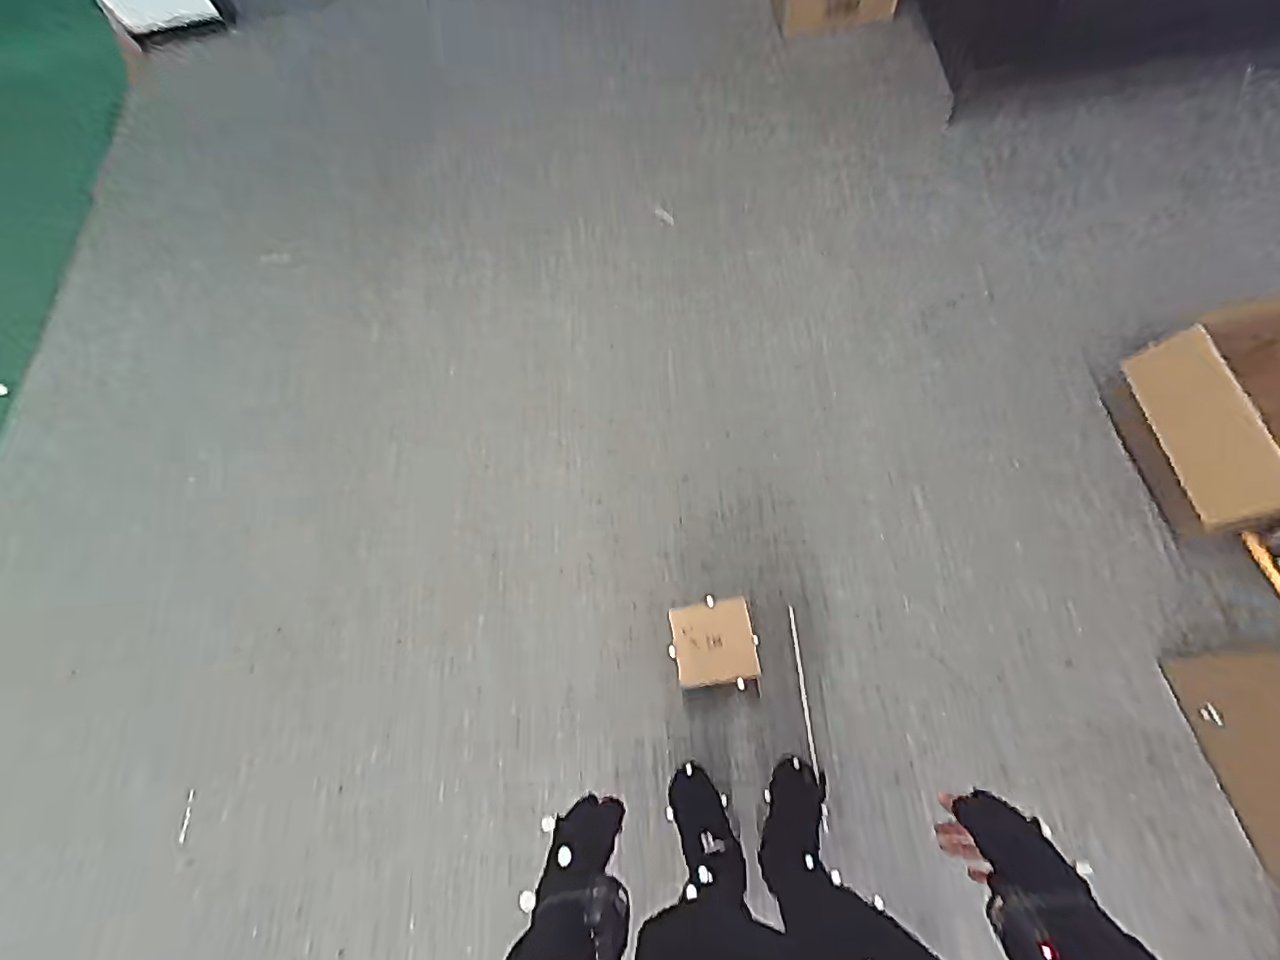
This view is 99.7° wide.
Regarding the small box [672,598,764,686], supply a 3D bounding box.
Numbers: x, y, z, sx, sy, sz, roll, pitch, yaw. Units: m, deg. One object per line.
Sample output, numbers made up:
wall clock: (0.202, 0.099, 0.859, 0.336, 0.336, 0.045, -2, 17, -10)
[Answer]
small box: (0.174, 0.373, 1.238, 0.179, 0.176, 0.168, -10, 68, 4)
